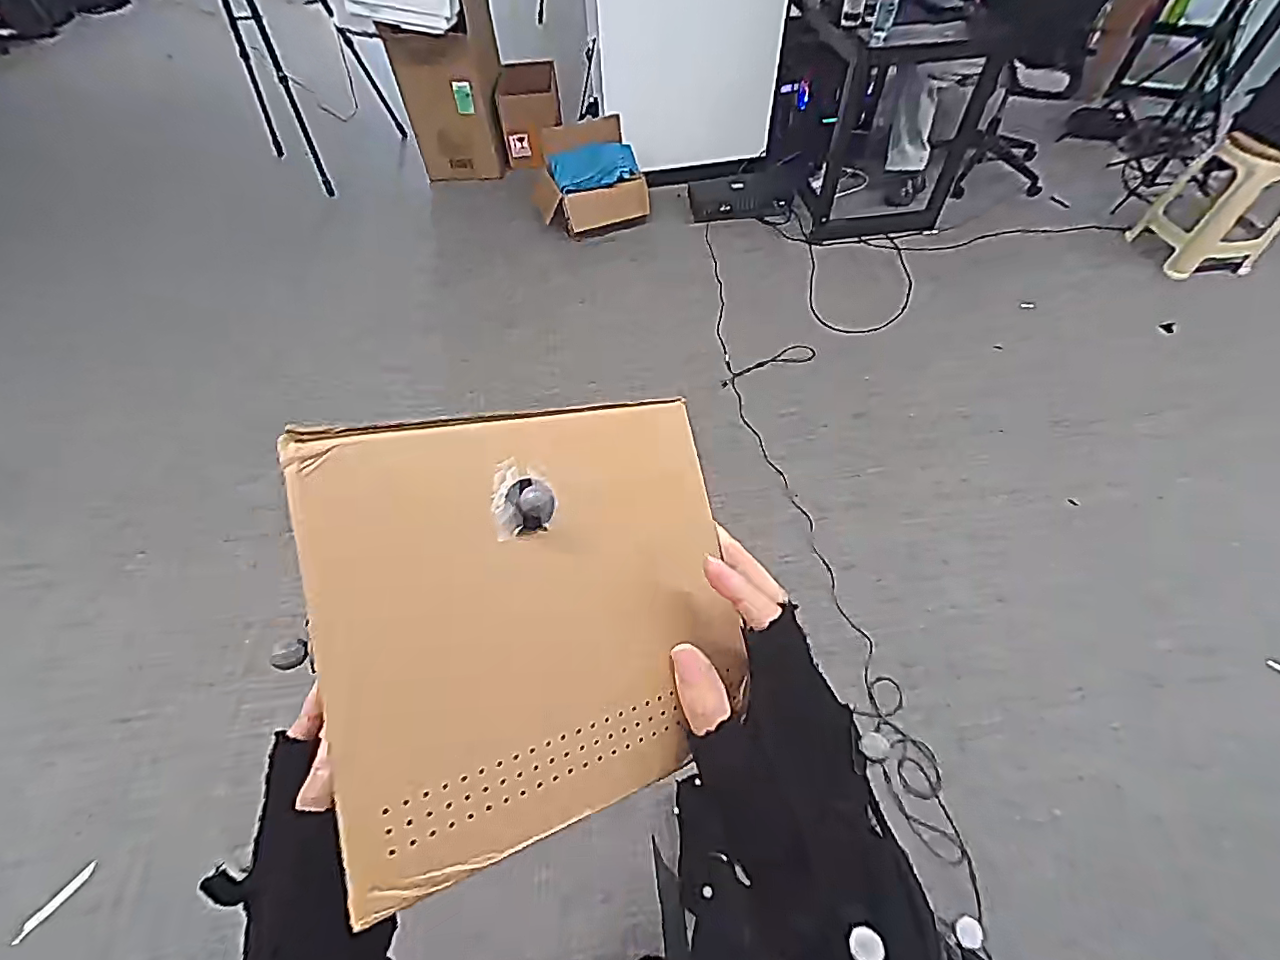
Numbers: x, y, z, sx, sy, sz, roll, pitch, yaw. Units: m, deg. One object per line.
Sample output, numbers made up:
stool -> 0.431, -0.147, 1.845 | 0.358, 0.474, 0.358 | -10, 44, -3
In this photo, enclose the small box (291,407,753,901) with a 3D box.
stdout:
small box -> -0.066, 0.073, 0.294 | 0.179, 0.168, 0.176 | -9, 82, -28
